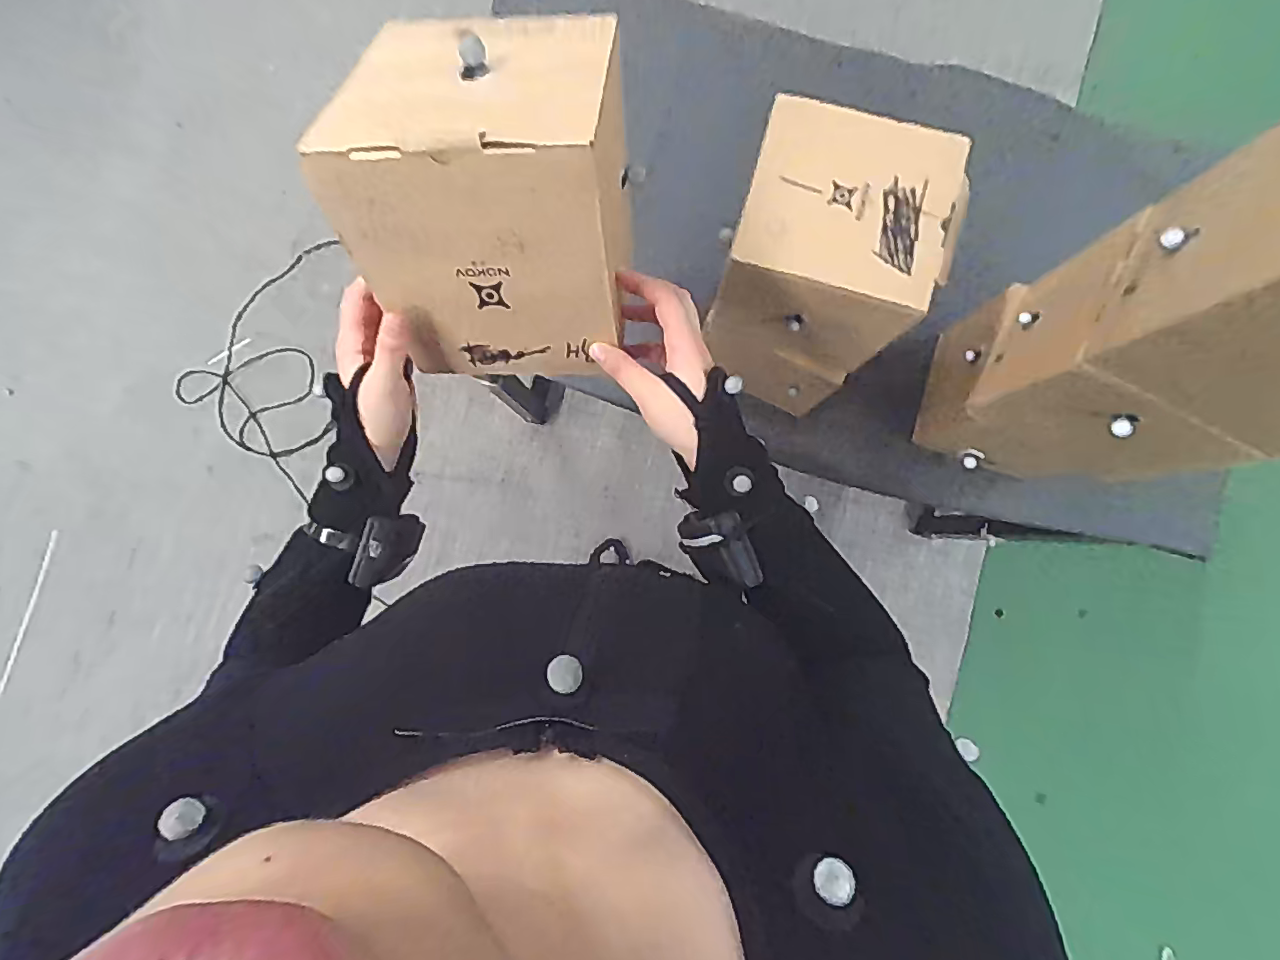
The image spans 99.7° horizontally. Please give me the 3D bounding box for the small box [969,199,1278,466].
[{"bbox_3d":[0.477,-0.124,0.531,0.179,0.176,0.168,28,85,5],"label":"small box"}]

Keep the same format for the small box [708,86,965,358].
[{"bbox_3d":[0.179,-0.239,0.546,0.179,0.176,0.168,17,85,3],"label":"small box"}]

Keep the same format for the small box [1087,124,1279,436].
[{"bbox_3d":[0.476,-0.143,0.367,0.179,0.176,0.168,29,85,5],"label":"small box"}]

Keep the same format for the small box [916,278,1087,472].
[{"bbox_3d":[0.486,-0.122,0.693,0.168,0.176,0.179,17,85,4],"label":"small box"}]
